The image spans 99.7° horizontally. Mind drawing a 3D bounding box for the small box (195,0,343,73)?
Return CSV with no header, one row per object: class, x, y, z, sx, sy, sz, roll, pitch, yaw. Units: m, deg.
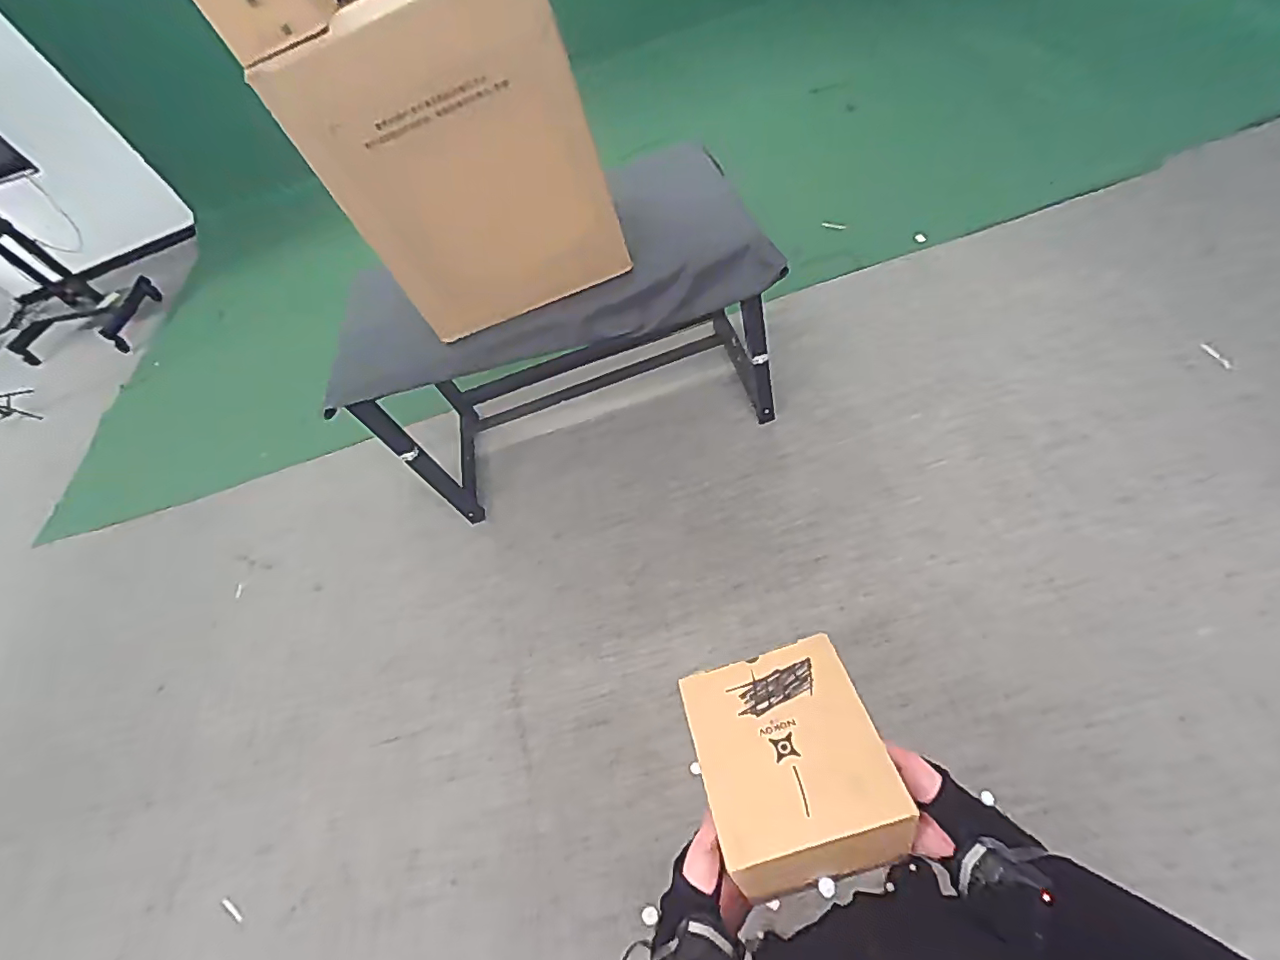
small box,-0.640,-0.835,0.921,0.168,0.176,0.179,-19,53,6
